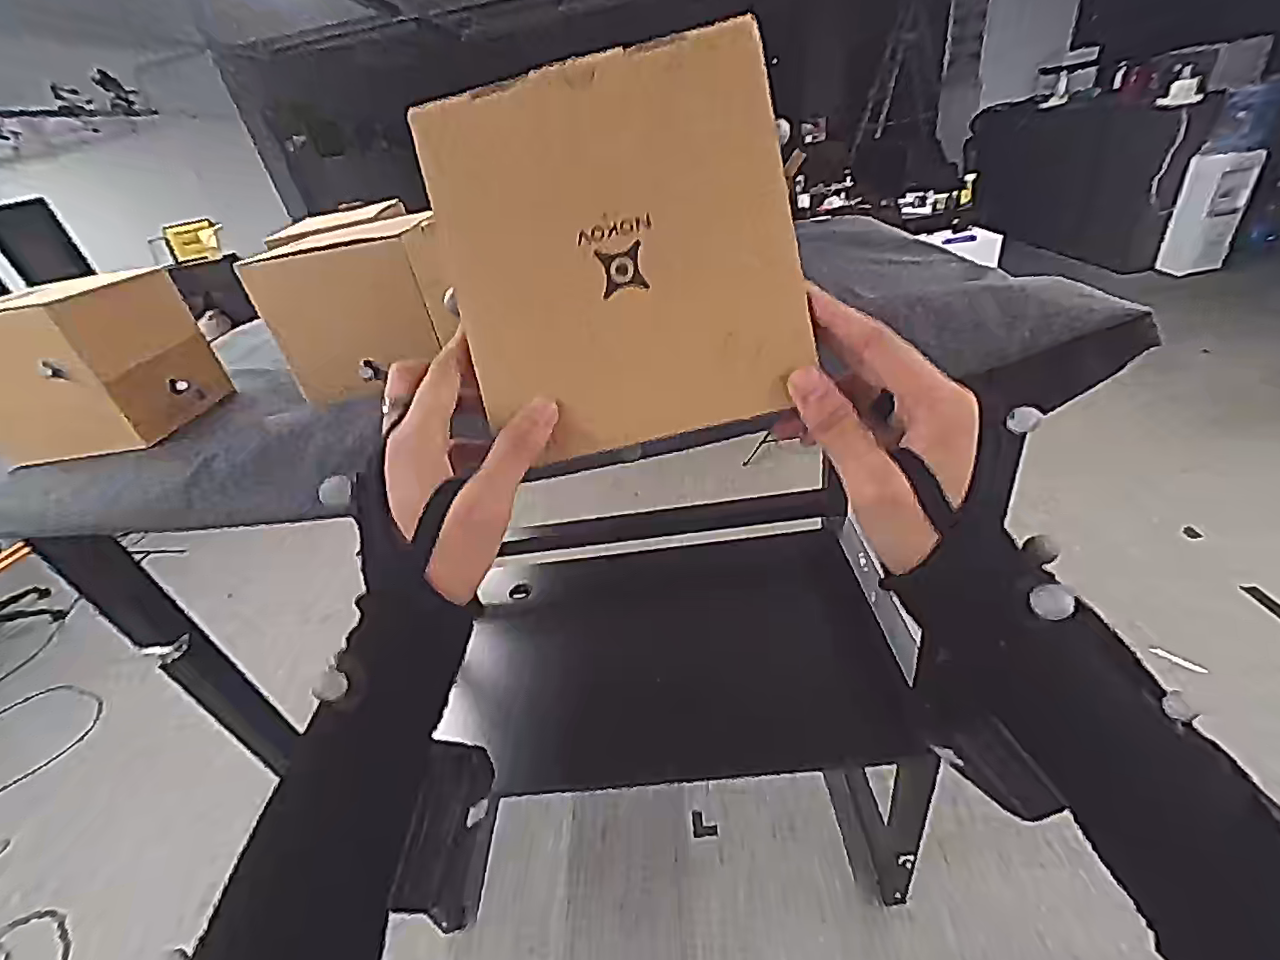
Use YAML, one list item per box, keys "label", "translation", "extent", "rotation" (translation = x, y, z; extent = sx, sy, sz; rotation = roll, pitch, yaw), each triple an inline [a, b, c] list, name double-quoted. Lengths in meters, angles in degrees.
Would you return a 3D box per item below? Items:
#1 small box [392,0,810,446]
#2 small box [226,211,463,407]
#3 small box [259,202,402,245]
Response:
- label: "small box"
  translation: [-0.012, -0.128, 0.329]
  extent: [0.168, 0.179, 0.176]
  rotation: [-13, 7, 4]
- label: "small box"
  translation: [-0.308, -0.201, 0.630]
  extent: [0.179, 0.176, 0.168]
  rotation: [-8, 32, 4]
- label: "small box"
  translation: [-0.464, -0.342, 0.887]
  extent: [0.168, 0.176, 0.179]
  rotation: [-13, 34, 0]
